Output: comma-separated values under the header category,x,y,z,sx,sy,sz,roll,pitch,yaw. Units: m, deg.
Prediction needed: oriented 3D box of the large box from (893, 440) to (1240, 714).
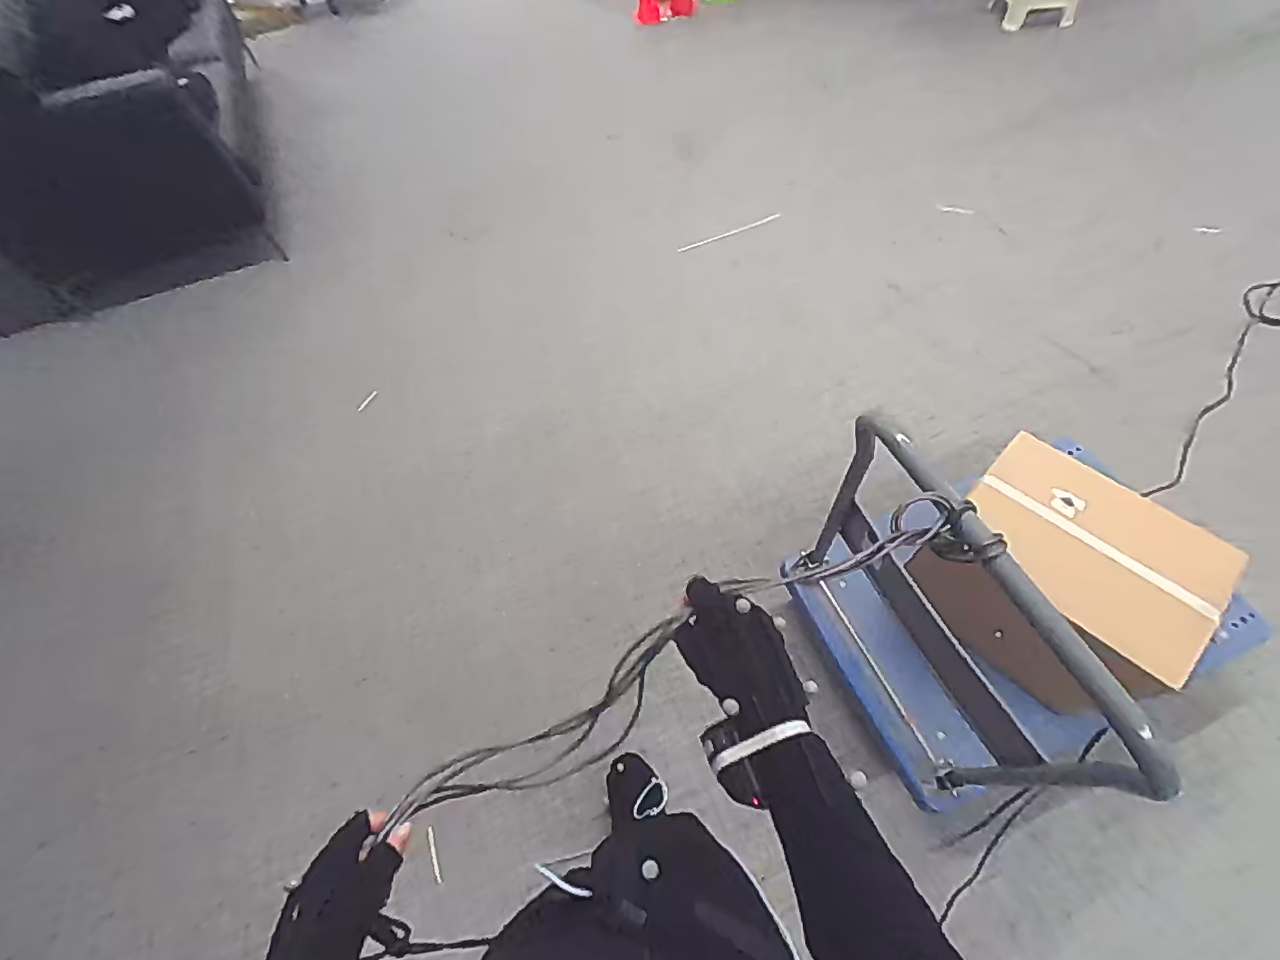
category,x,y,z,sx,sy,sz,roll,pitch,yaw
large box,0.819,0.200,1.104,0.320,0.320,0.408,-42,63,-18
